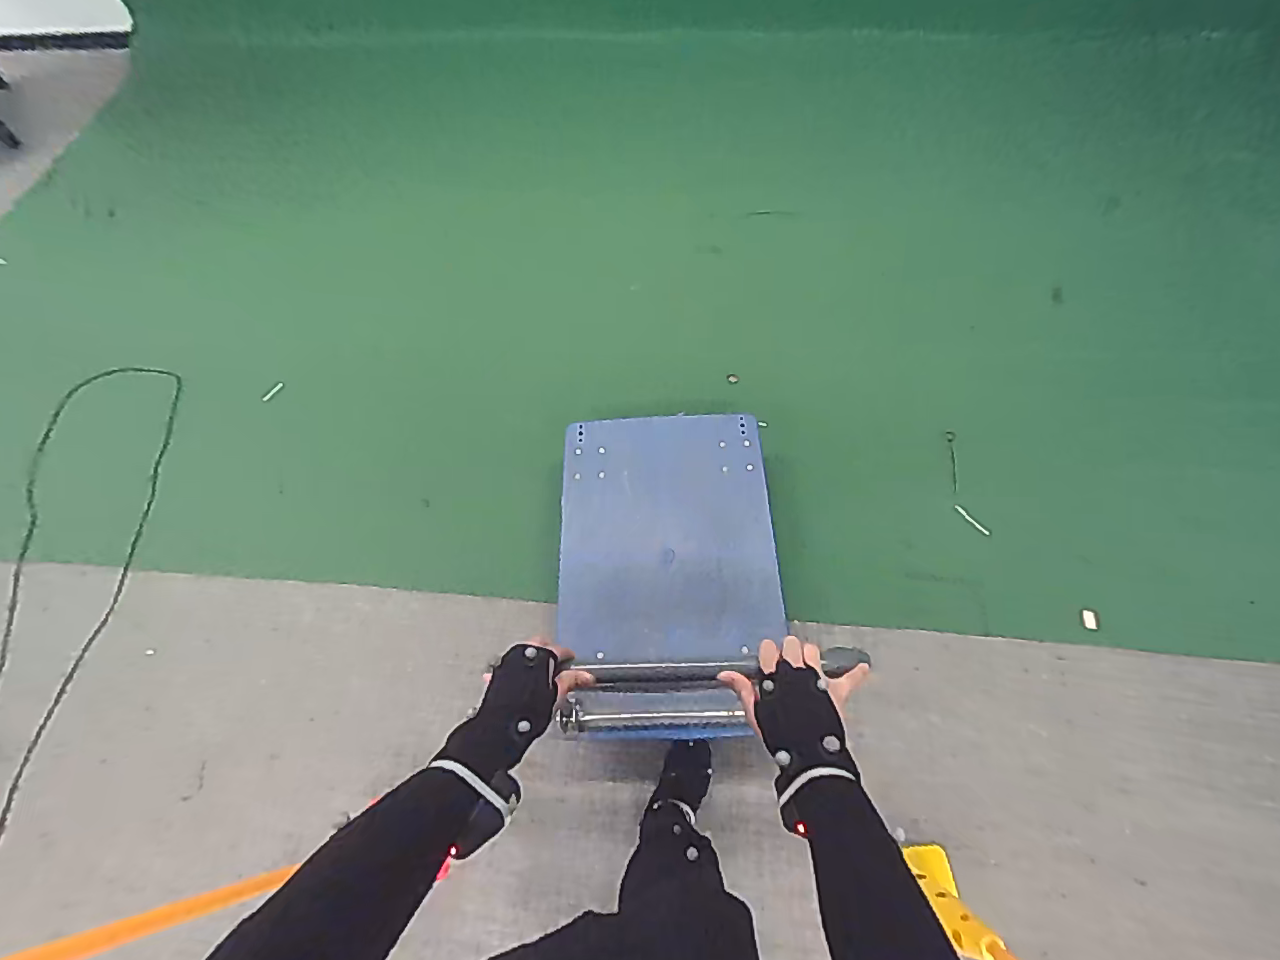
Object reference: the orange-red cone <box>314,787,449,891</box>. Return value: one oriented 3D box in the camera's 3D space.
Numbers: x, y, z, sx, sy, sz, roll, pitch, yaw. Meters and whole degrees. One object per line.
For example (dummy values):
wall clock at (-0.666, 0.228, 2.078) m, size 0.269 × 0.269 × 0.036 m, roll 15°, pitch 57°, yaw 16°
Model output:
orange-red cone at (-0.580, 0.793, 1.165) m, size 0.199 × 0.360 × 0.198 m, roll -10°, pitch 62°, yaw 0°
